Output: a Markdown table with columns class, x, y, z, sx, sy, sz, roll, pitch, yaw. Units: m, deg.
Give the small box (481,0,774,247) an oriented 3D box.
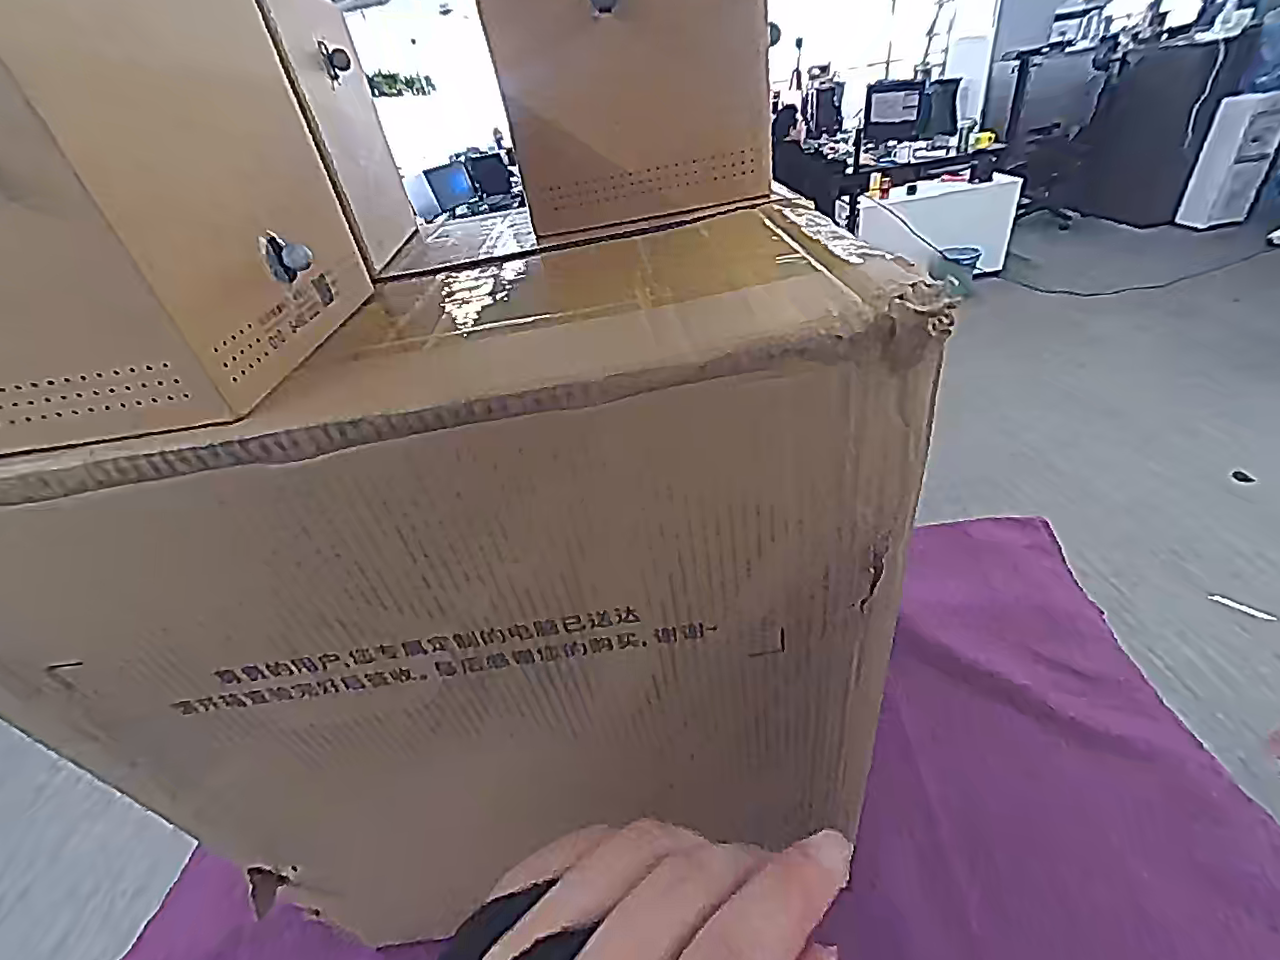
| class | x | y | z | sx | sy | sz | roll | pitch | yaw |
| --- | --- | --- | --- | --- | --- | --- | --- | --- | --- |
| small box | 0.004 | -0.294 | 0.408 | 0.179 | 0.176 | 0.168 | -7 | 36 | 8 |
